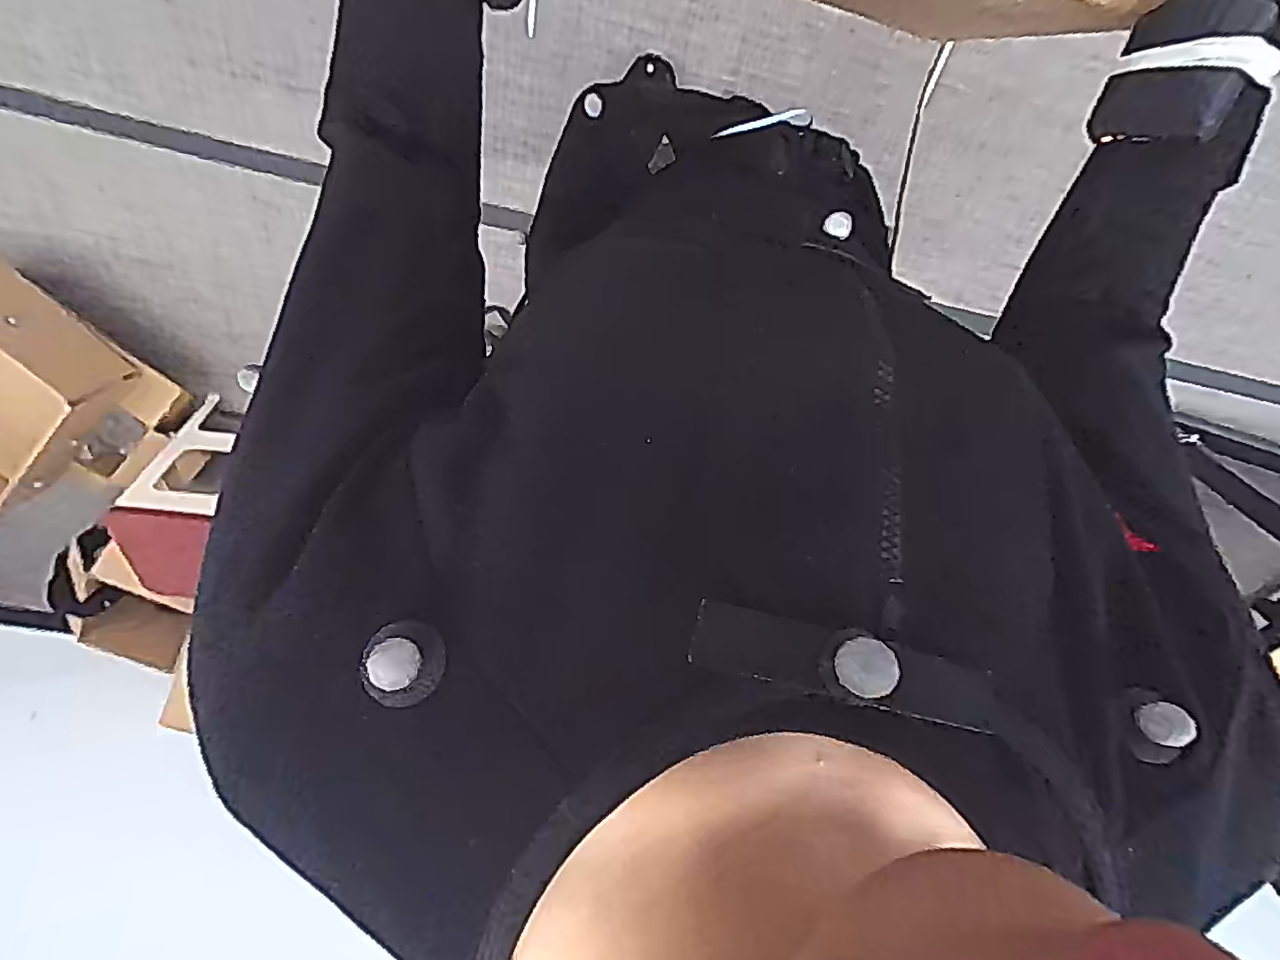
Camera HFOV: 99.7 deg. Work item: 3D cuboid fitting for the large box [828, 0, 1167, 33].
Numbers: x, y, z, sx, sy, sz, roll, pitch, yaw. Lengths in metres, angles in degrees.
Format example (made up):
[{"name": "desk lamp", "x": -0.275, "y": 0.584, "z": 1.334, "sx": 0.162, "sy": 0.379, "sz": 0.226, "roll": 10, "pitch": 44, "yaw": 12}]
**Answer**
[{"name": "large box", "x": 0.150, "y": -0.520, "z": 0.324, "sx": 0.408, "sy": 0.320, "sz": 0.320, "roll": 10, "pitch": 128, "yaw": -9}]
